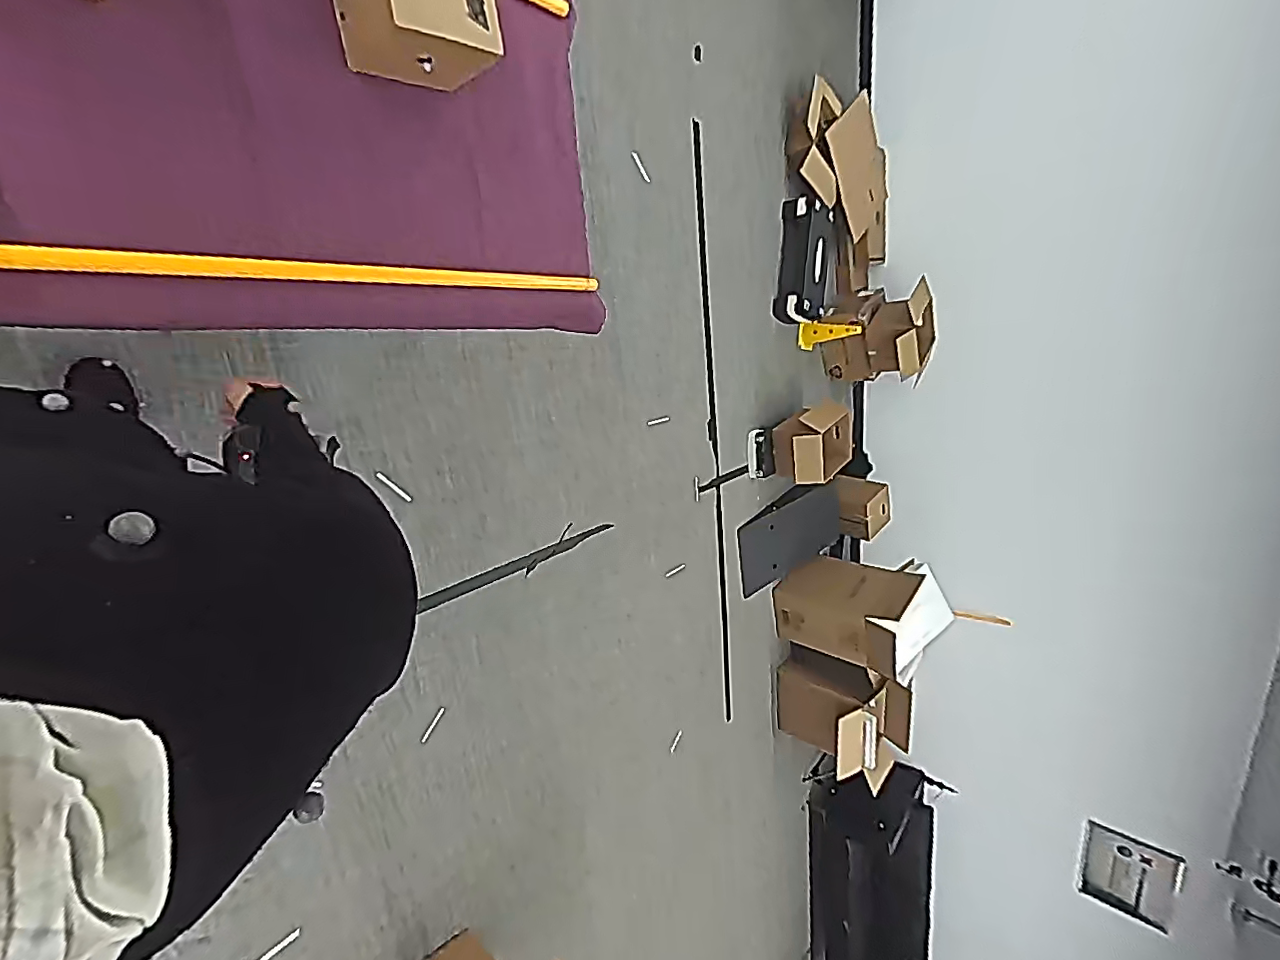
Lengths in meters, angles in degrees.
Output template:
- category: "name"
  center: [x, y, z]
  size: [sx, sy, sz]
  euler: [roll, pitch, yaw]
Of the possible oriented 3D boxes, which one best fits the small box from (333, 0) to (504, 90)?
- category: "small box"
  center: [-0.331, -0.706, 0.796]
  size: [0.179, 0.176, 0.168]
  euler: [-24, 115, -42]
